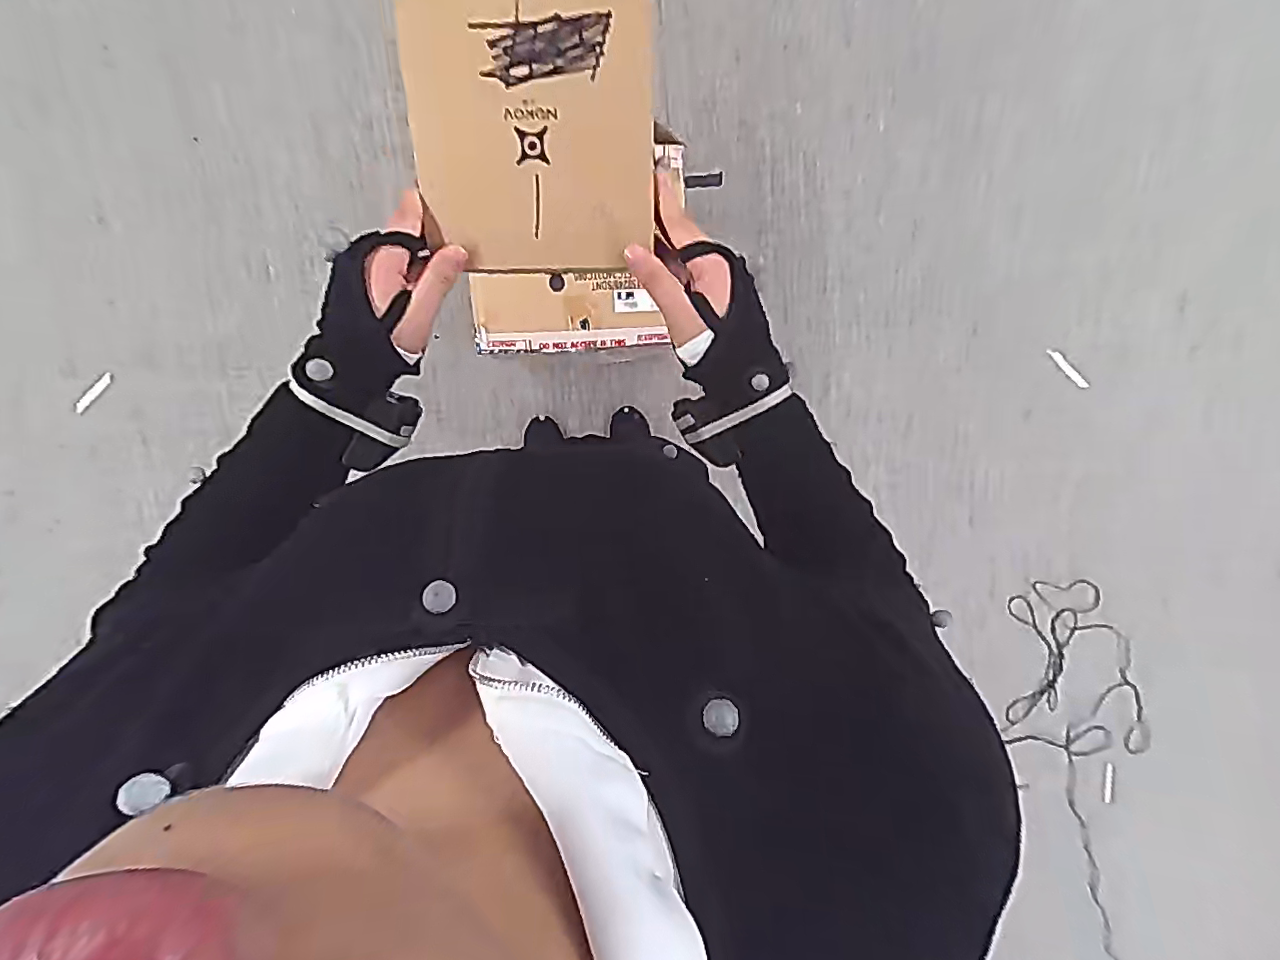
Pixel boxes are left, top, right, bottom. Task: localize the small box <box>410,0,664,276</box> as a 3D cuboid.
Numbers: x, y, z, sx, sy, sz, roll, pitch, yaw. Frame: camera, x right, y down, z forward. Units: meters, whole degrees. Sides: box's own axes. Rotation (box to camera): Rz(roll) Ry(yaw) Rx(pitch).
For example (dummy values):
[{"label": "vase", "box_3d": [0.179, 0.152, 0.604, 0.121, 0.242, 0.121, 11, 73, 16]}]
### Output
[{"label": "small box", "box_3d": [-0.068, -0.264, 0.445, 0.168, 0.176, 0.179, 0, 110, 0]}]
